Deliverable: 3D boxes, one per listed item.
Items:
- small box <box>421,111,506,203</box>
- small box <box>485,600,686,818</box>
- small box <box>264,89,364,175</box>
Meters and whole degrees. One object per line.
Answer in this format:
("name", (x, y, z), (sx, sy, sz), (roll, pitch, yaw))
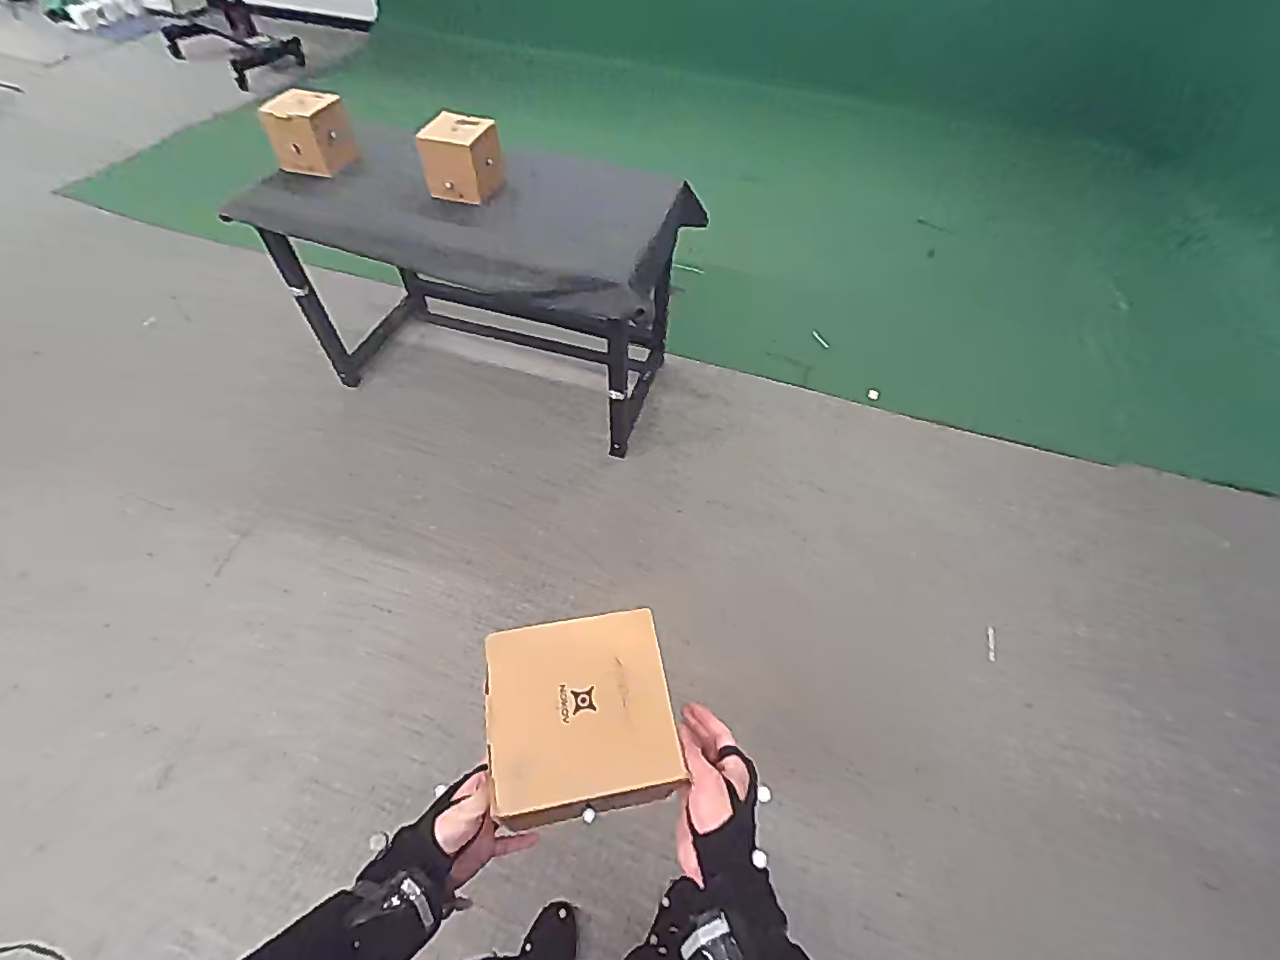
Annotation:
("small box", (-0.508, -0.949, 1.589), (0.168, 0.176, 0.179), (14, 56, 8))
("small box", (-0.061, 0.249, 0.581), (0.179, 0.176, 0.168), (-7, 56, -10))
("small box", (-0.988, -1.066, 1.661), (0.168, 0.176, 0.179), (12, 55, 7))
